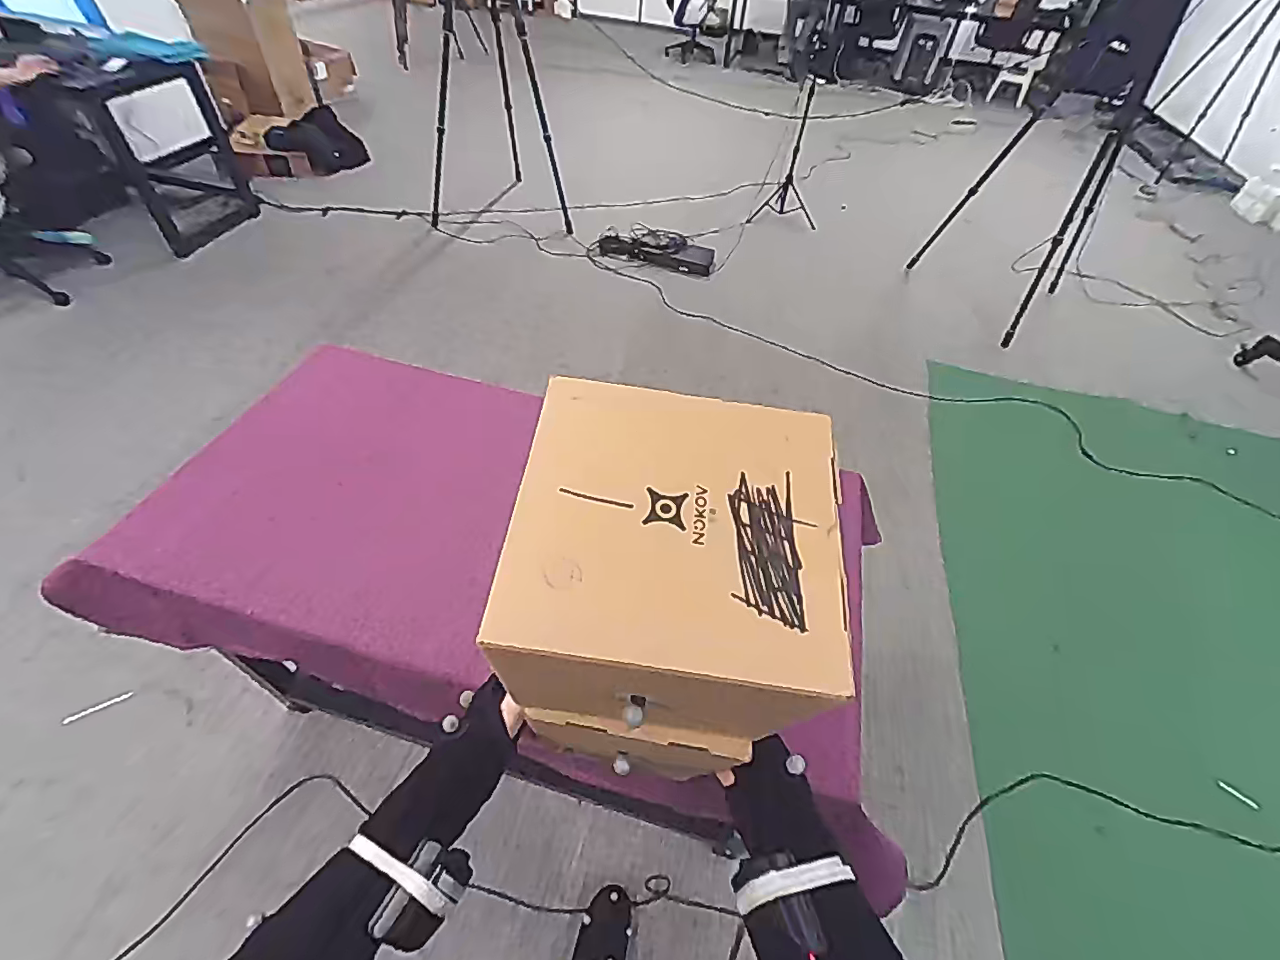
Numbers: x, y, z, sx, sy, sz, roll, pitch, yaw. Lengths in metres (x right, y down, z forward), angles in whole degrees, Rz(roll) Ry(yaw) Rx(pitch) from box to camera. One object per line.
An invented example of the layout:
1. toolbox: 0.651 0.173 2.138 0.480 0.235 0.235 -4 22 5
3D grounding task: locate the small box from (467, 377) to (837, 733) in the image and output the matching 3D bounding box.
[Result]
1. small box: 0.009 0.060 0.357 0.179 0.176 0.168 9 57 0

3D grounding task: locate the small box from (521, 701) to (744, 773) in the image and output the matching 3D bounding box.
1. small box: 0.000 0.151 0.494 0.168 0.176 0.179 11 58 1
